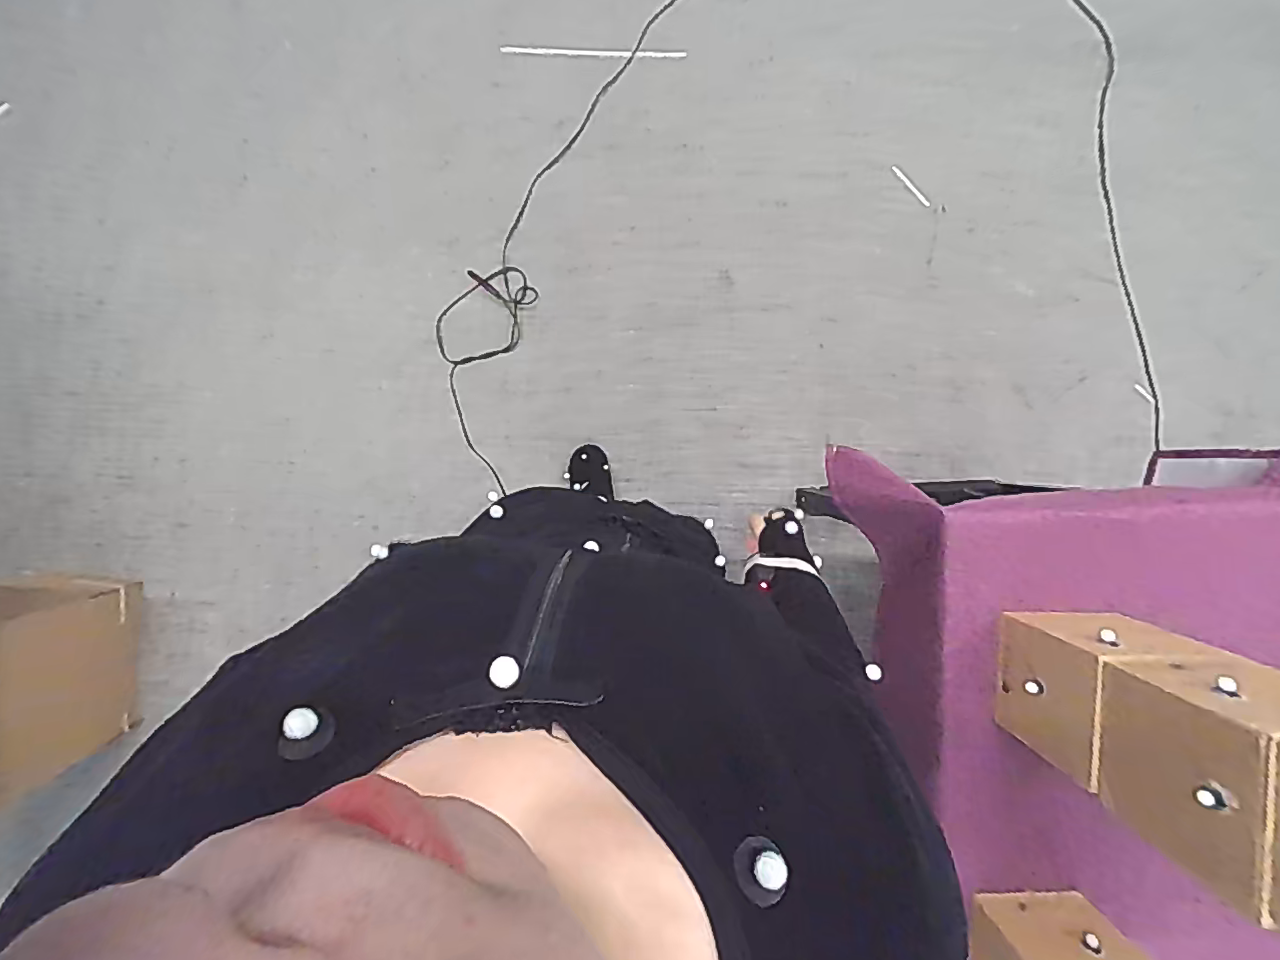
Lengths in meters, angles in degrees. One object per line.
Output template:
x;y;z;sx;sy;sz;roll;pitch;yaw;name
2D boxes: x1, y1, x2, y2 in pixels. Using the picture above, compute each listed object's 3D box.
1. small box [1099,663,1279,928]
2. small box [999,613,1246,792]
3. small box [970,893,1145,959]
0.614;0.298;0.545;0.168;0.176;0.179;0;94;0;small box
0.610;0.281;0.708;0.179;0.176;0.168;1;95;-2;small box
0.580;0.706;0.738;0.168;0.176;0.179;0;94;-1;small box
